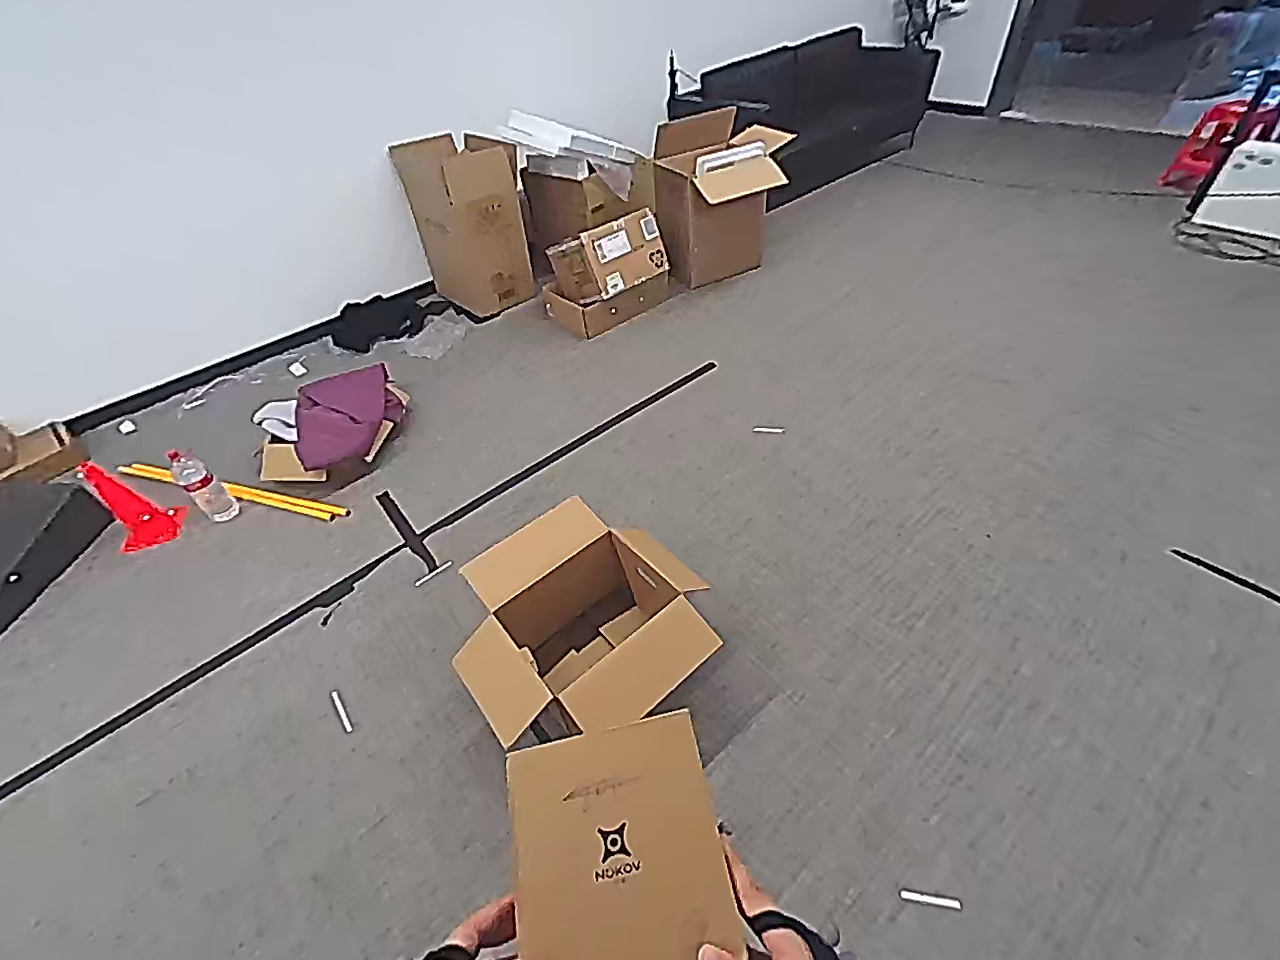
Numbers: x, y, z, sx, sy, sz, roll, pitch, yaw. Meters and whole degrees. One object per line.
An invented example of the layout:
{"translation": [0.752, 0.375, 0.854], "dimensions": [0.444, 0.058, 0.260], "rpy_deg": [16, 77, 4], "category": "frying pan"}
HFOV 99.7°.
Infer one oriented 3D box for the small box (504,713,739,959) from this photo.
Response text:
{"translation": [-0.014, 0.338, 0.497], "dimensions": [0.168, 0.176, 0.179], "rpy_deg": [-14, 55, -3], "category": "small box"}
